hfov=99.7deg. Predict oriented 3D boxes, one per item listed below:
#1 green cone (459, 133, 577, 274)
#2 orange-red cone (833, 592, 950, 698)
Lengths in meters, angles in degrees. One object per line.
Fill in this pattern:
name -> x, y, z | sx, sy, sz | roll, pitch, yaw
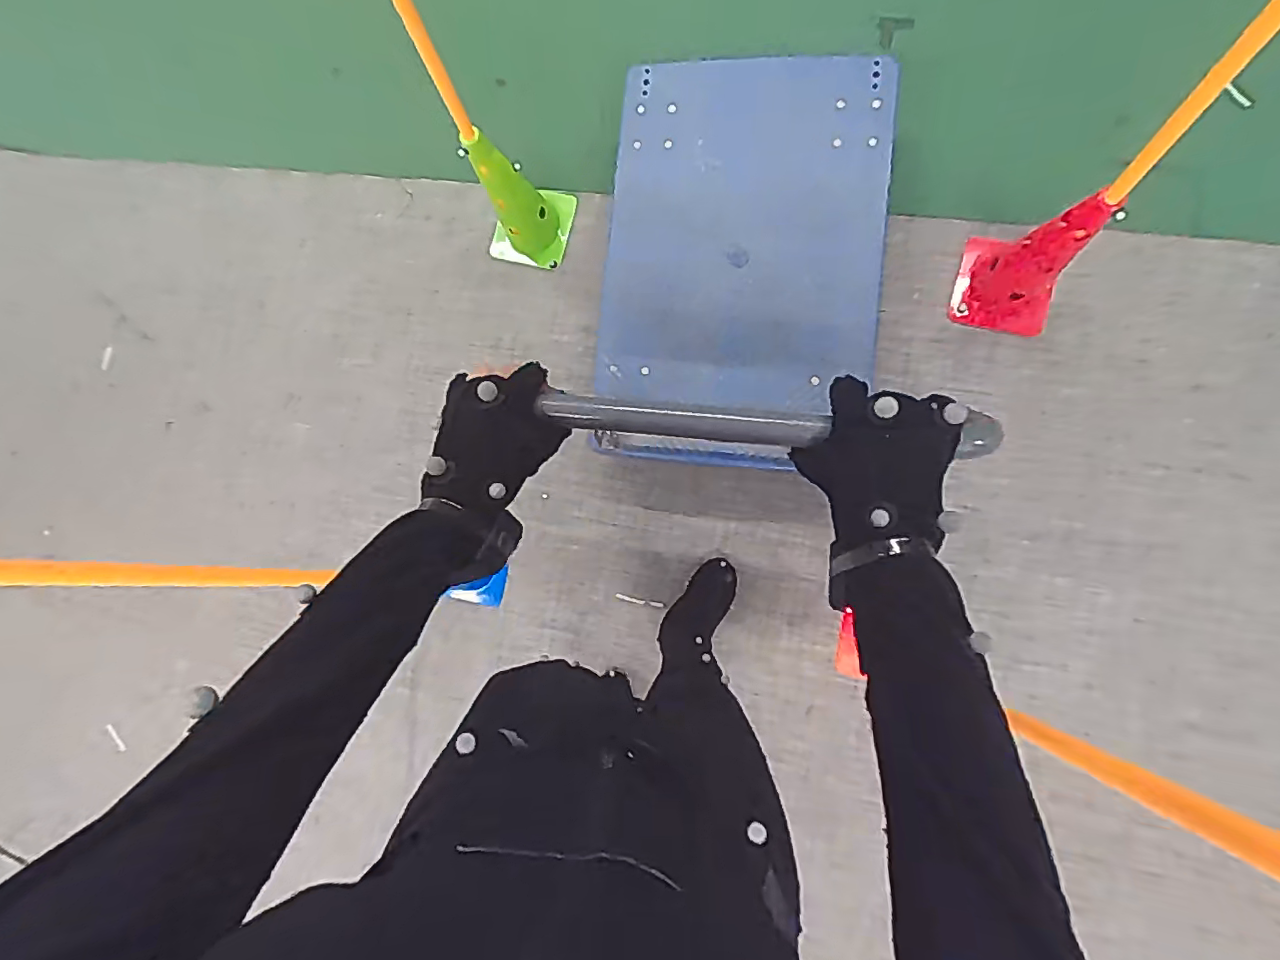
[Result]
green cone -> -0.305, -0.661, 1.248 | 0.202, 0.368, 0.200 | 15, 88, 11
orange-red cone -> 0.517, 0.352, 1.052 | 0.199, 0.360, 0.198 | 10, 88, 12
